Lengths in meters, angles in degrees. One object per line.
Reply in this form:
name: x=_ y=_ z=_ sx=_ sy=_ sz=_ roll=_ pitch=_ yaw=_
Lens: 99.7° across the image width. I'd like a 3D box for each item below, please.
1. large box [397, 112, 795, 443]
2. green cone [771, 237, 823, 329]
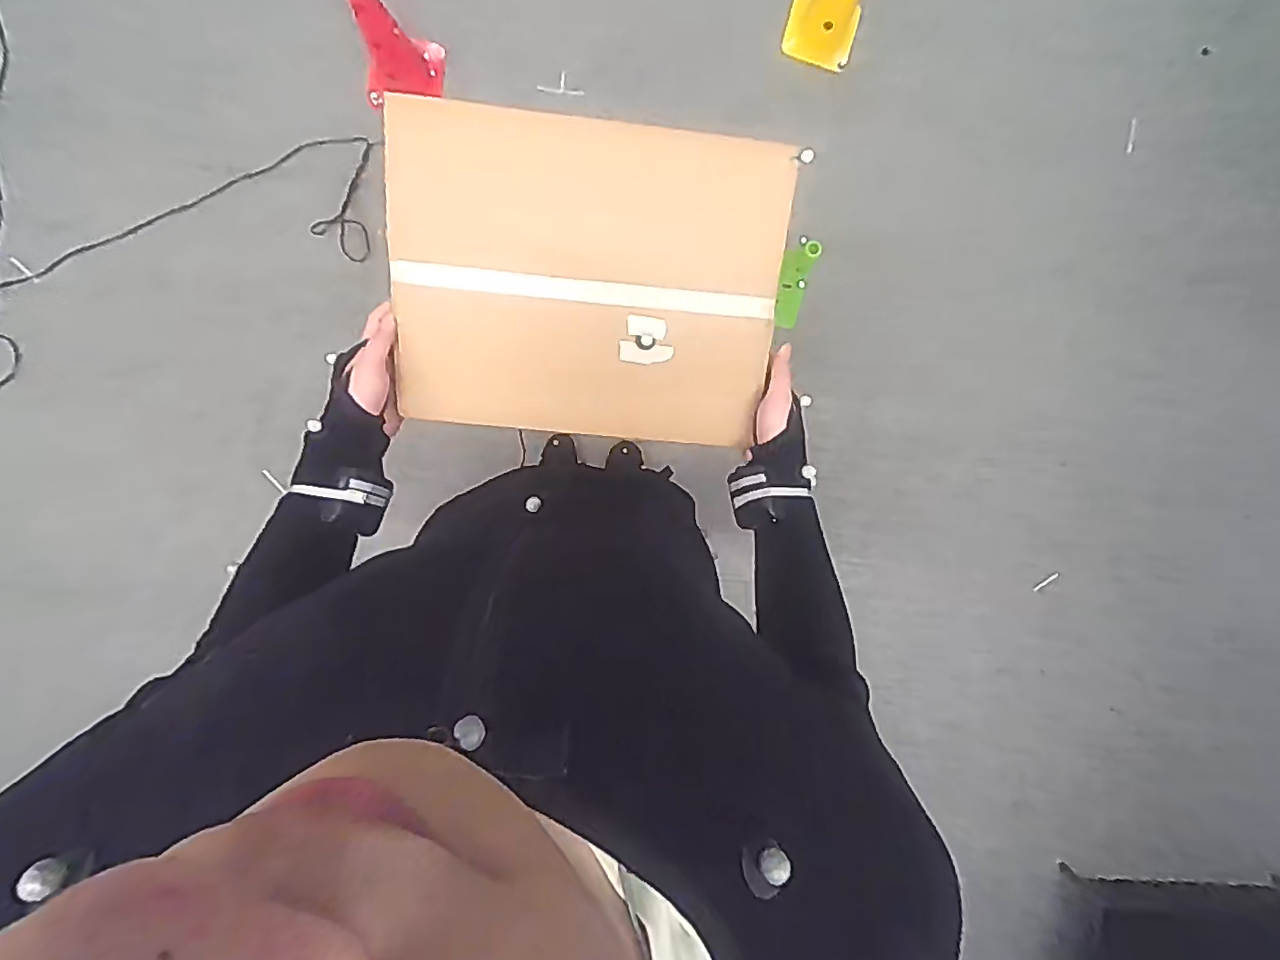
large box: x=-0.060 y=-0.244 z=0.721 sx=0.408 sy=0.320 sz=0.320 roll=4 pitch=108 yaw=-5
green cone: x=0.403 y=-0.559 z=1.454 sx=0.200 sy=0.368 sz=0.202 roll=11 pitch=93 yaw=-5
